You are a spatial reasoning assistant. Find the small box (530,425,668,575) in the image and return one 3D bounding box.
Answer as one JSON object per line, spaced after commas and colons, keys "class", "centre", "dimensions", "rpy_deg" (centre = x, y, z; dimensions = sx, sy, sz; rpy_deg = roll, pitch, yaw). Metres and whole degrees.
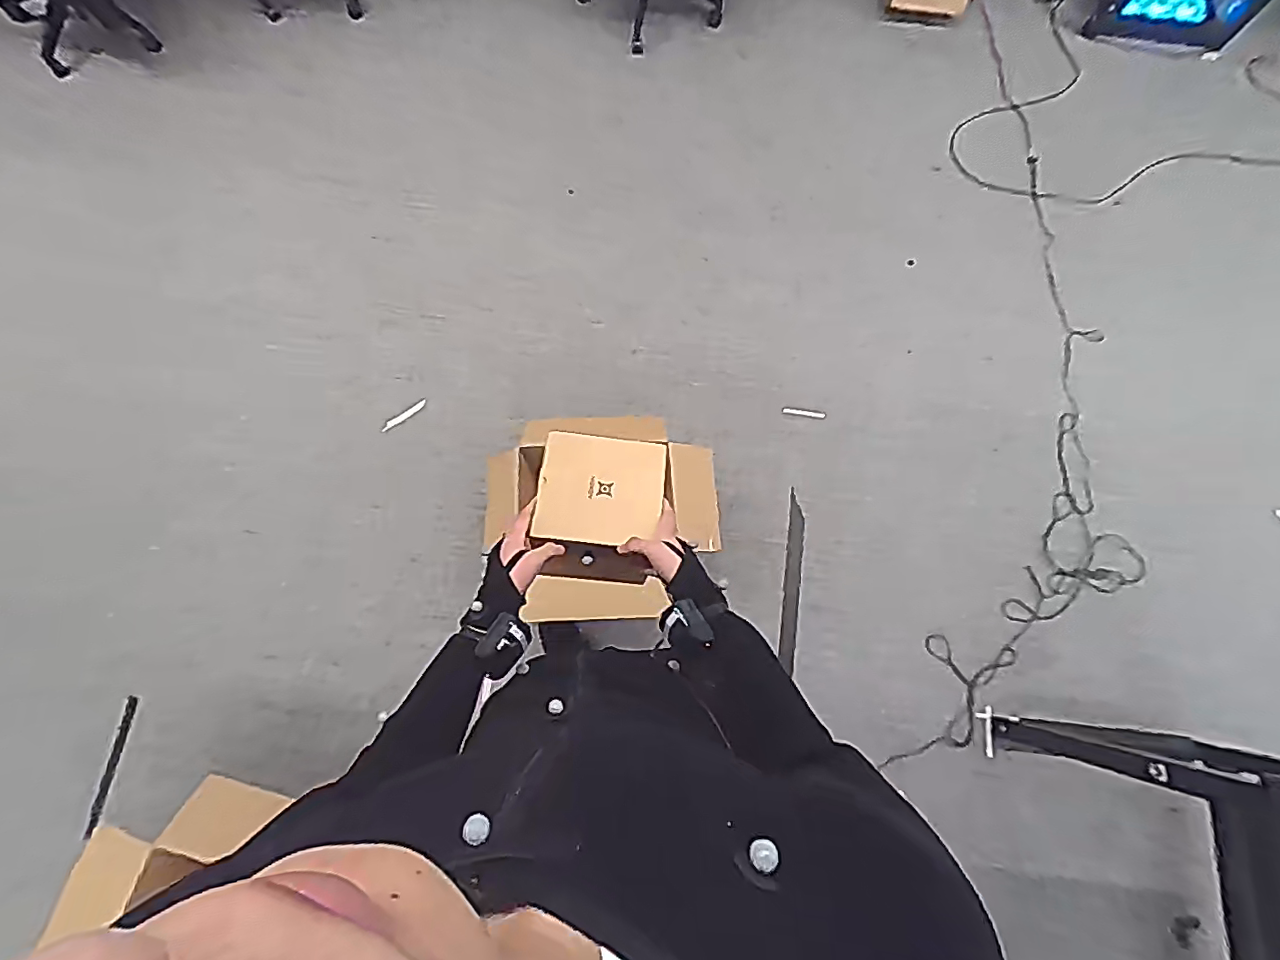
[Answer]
{"class": "small box", "centre": [-0.059, 0.039, 0.811], "dimensions": [0.179, 0.176, 0.168], "rpy_deg": [6, 64, -3]}
